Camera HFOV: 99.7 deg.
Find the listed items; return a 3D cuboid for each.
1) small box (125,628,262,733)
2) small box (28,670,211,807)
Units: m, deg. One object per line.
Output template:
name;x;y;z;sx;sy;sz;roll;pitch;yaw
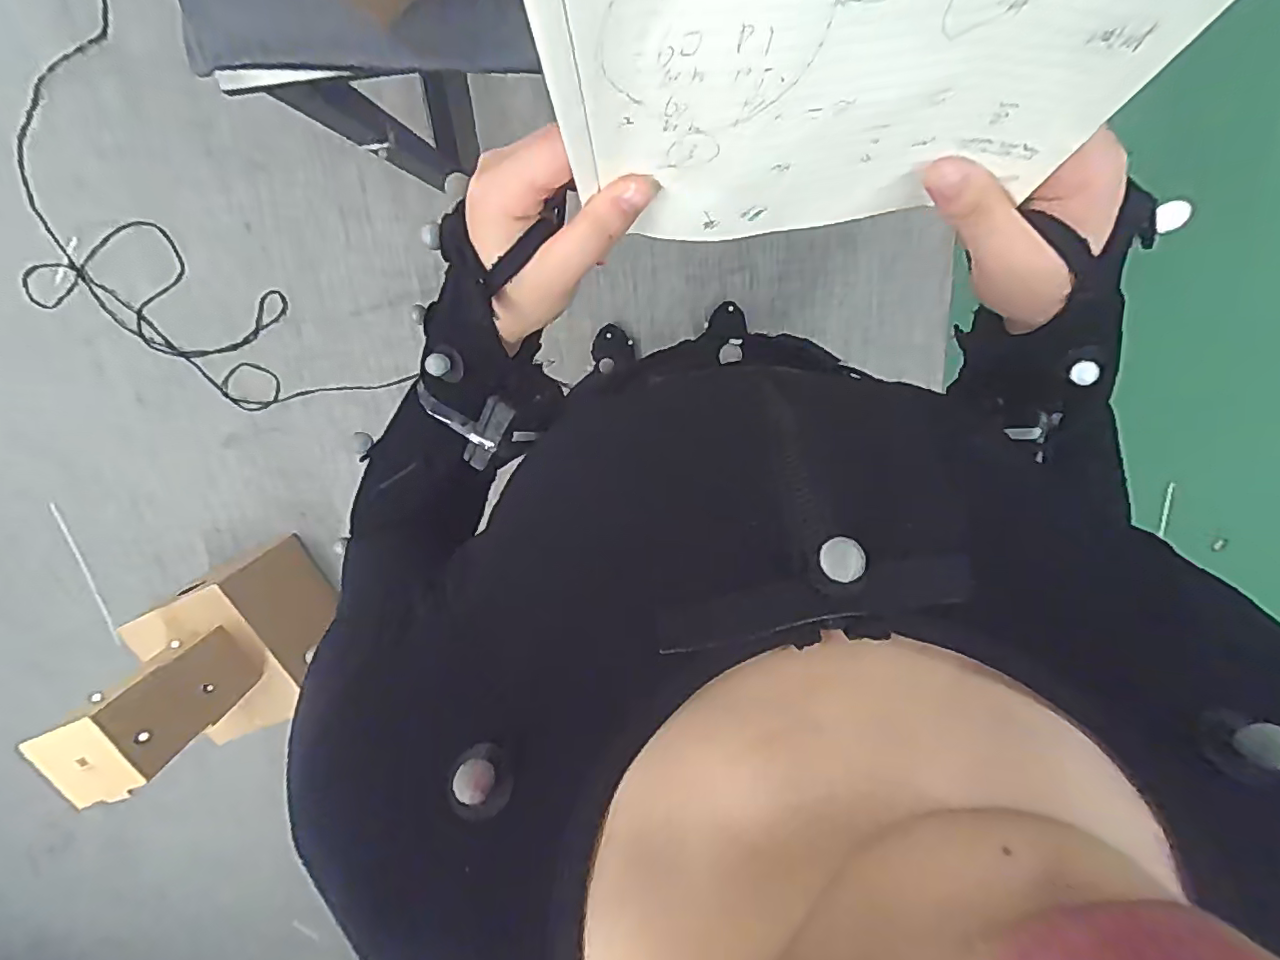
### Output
small box;-1.054;0.486;1.277;0.168;0.176;0.179;-23;105;6
small box;-1.059;0.522;1.118;0.168;0.176;0.179;-22;106;6
